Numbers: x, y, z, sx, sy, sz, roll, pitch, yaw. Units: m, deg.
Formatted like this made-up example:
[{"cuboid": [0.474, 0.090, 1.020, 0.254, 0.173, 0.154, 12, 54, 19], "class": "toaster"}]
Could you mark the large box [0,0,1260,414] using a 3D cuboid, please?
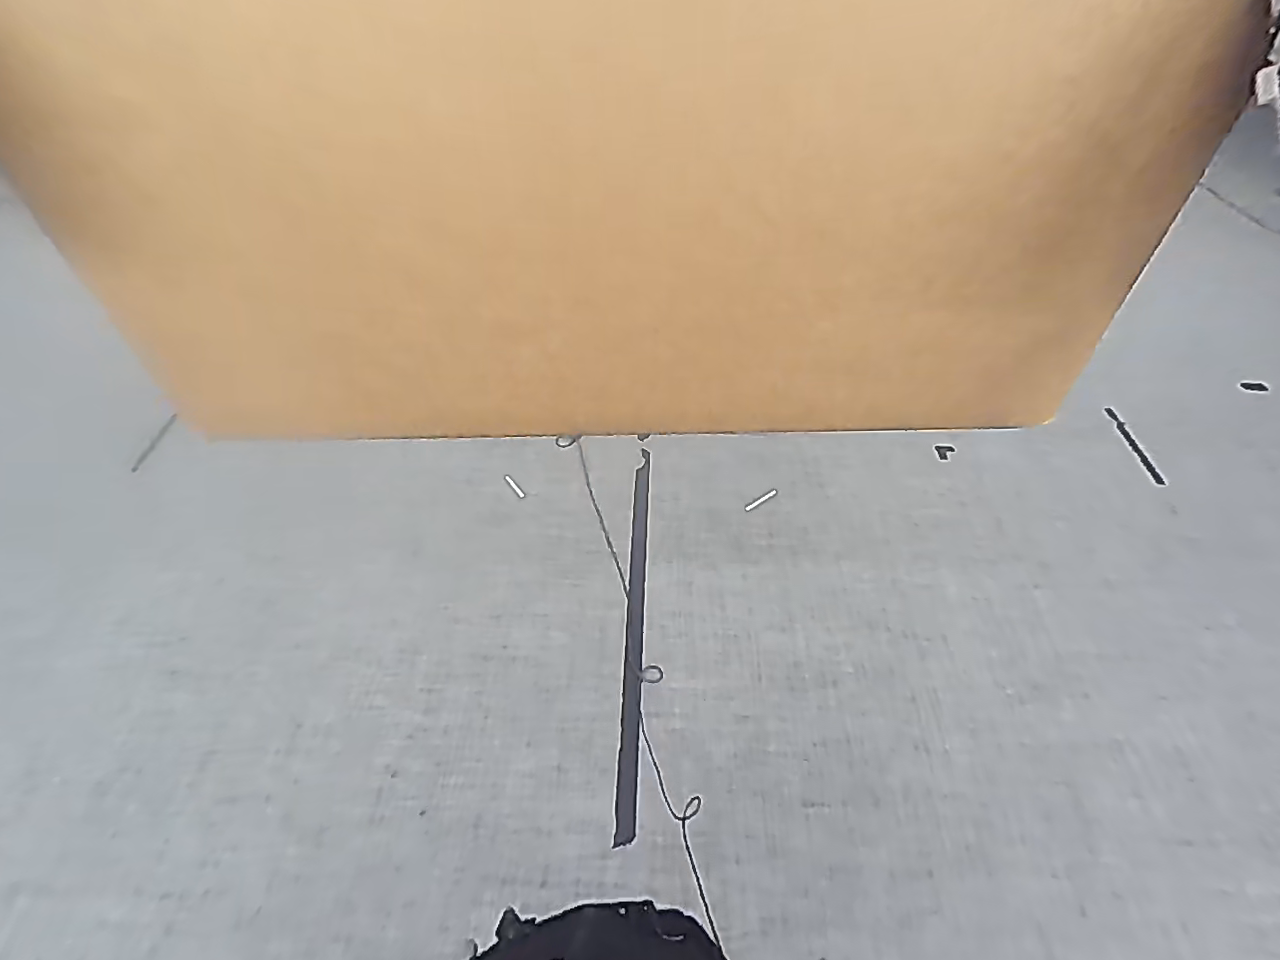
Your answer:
[{"cuboid": [-0.009, -0.243, 0.270, 0.408, 0.320, 0.320, 0, 43, -1], "class": "large box"}]
